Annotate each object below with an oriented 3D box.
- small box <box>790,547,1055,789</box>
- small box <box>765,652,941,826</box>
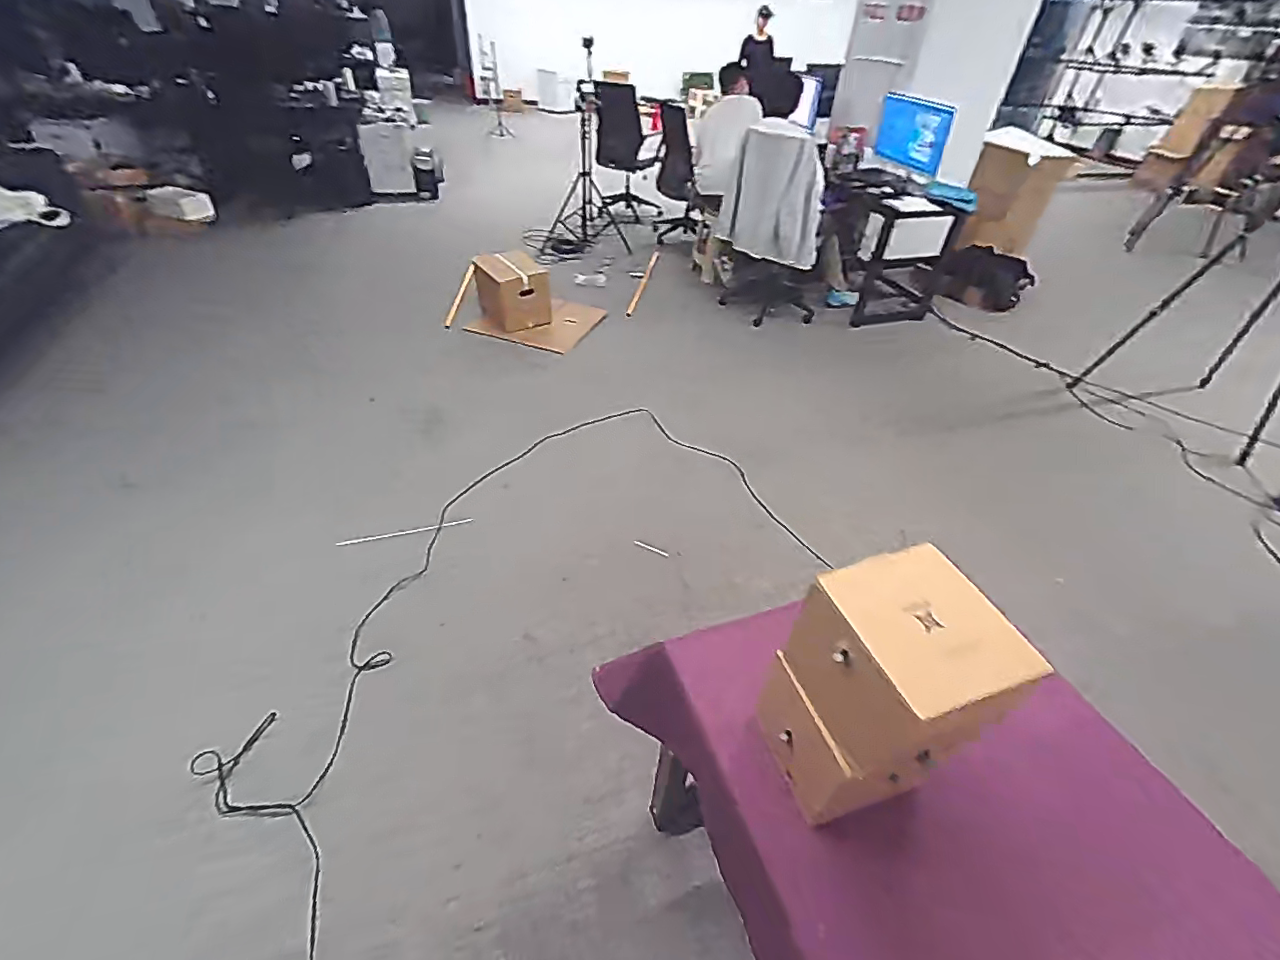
[{"bbox_3d":[0.294,0.208,0.610,0.168,0.176,0.179,-11,44,-15],"label":"small box"},{"bbox_3d":[0.283,0.327,0.721,0.179,0.176,0.168,-9,43,-15],"label":"small box"}]
